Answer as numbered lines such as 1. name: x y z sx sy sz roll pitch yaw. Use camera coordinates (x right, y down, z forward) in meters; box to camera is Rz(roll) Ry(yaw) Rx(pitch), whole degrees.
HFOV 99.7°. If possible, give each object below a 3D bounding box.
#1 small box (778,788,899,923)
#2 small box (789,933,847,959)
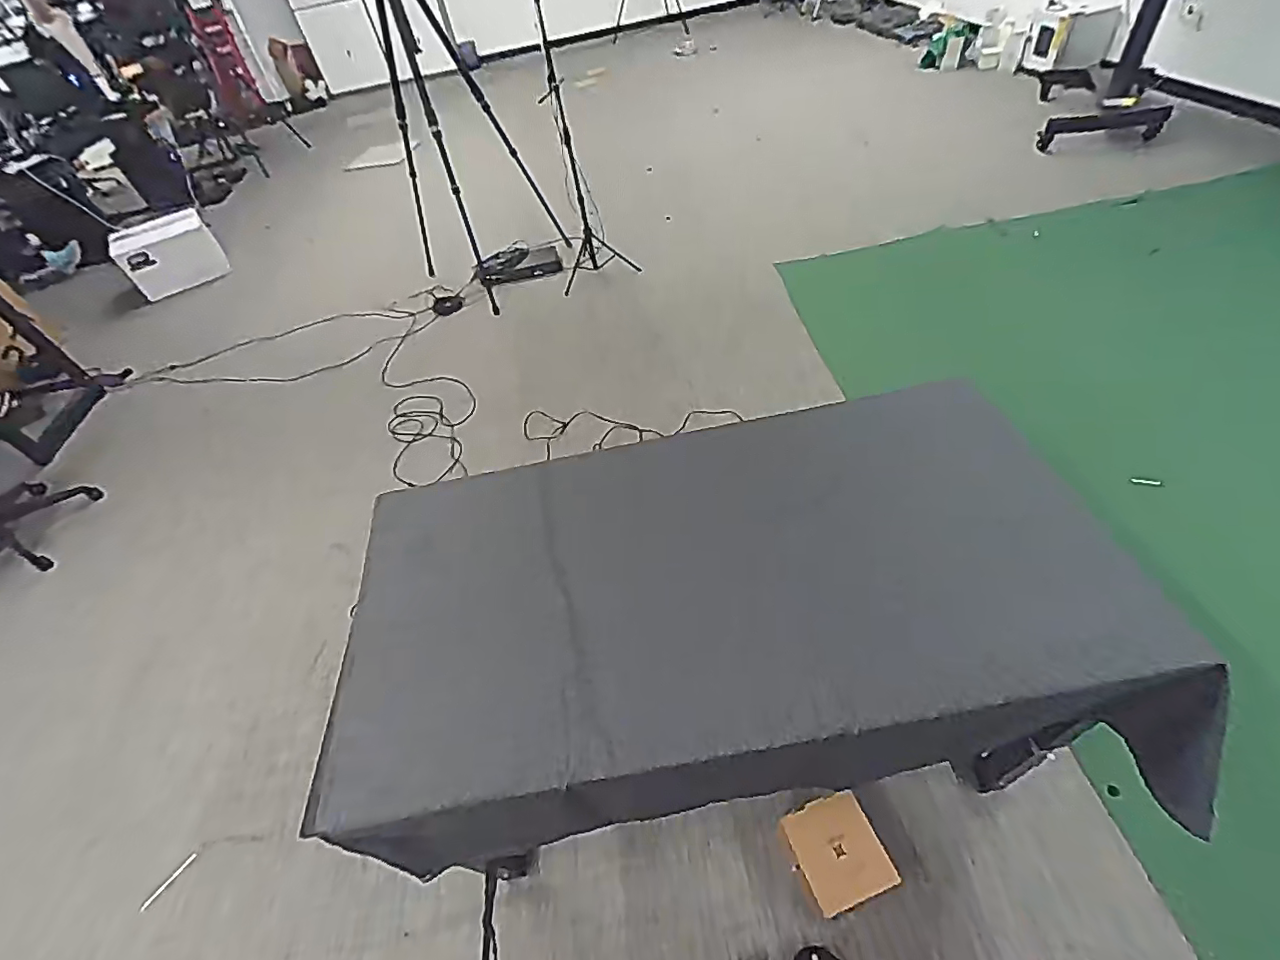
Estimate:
1. small box: 0.400 0.784 1.126 0.168 0.176 0.179 -20 48 -7
2. small box: 0.339 0.990 0.962 0.168 0.176 0.179 -2 17 46
